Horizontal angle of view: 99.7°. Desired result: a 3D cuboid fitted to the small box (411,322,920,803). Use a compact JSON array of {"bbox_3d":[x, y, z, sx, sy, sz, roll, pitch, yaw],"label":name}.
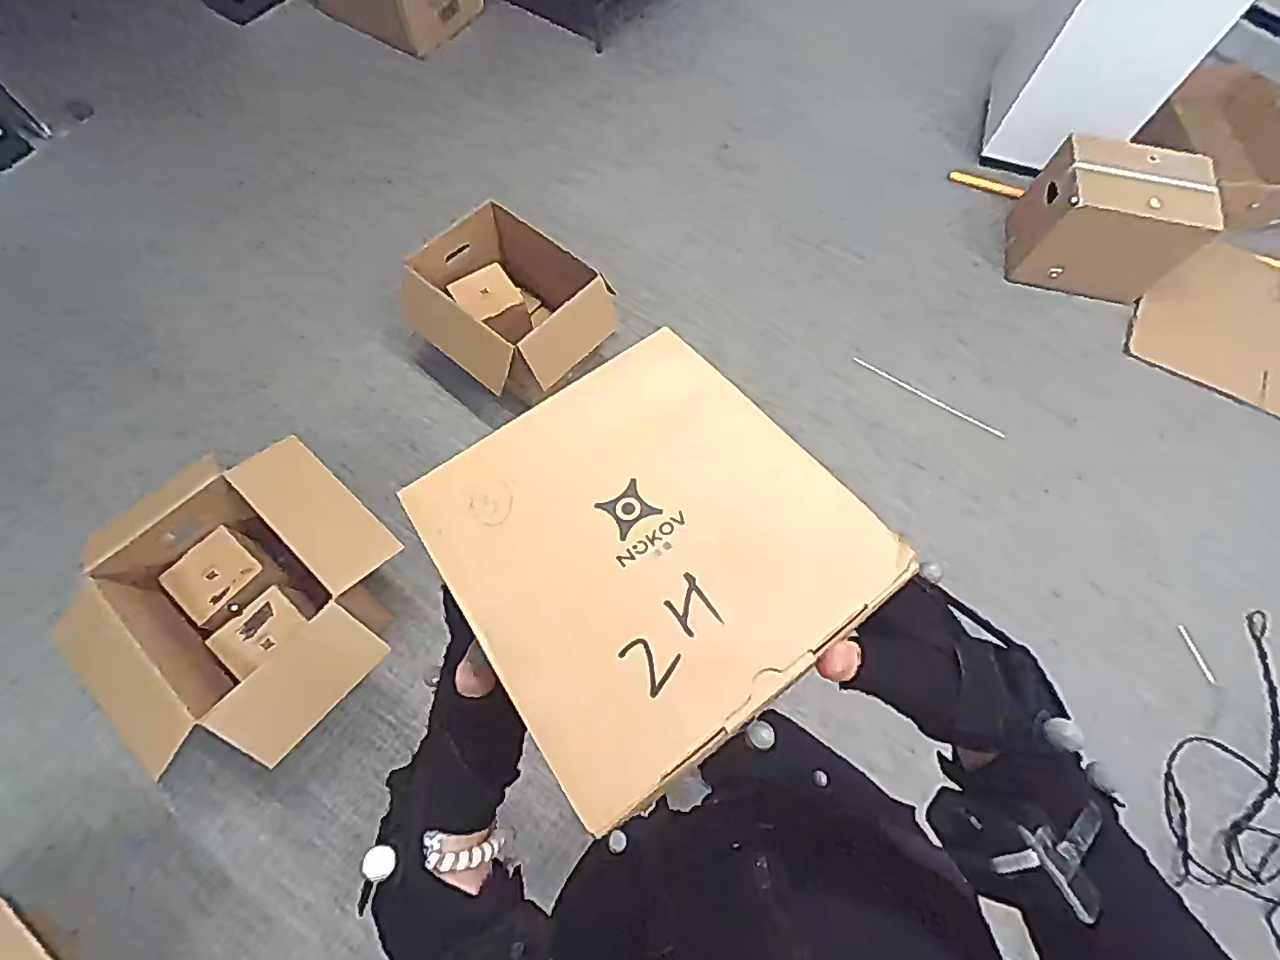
[{"bbox_3d":[0.009,0.053,0.311,0.168,0.176,0.179,-34,63,-12],"label":"small box"}]
